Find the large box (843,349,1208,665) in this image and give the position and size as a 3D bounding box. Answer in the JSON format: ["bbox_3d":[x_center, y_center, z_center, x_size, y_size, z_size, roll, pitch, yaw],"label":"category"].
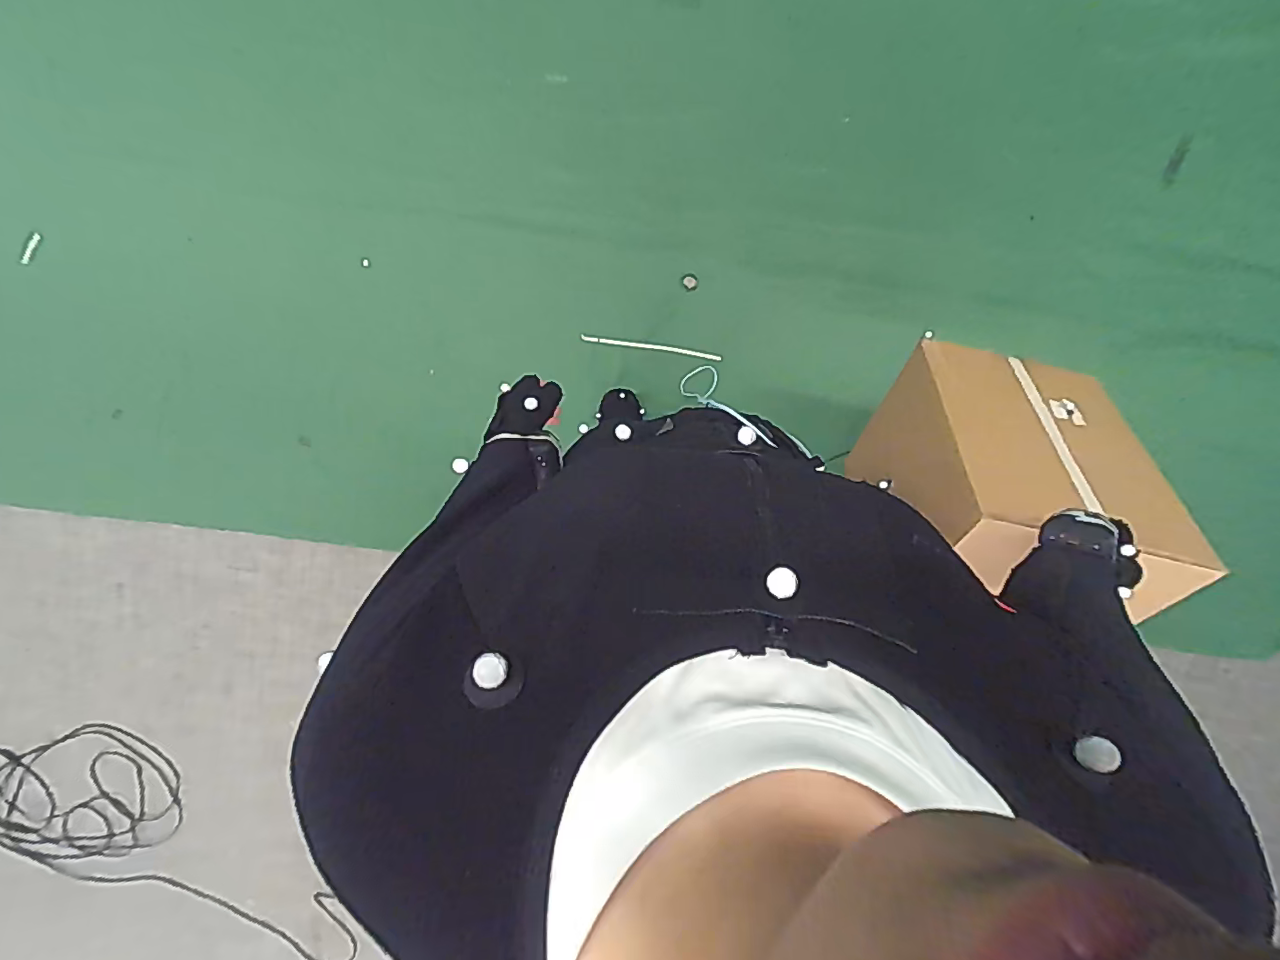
[{"bbox_3d":[0.572,0.042,0.917,0.320,0.408,0.320,13,136,-1],"label":"large box"}]
